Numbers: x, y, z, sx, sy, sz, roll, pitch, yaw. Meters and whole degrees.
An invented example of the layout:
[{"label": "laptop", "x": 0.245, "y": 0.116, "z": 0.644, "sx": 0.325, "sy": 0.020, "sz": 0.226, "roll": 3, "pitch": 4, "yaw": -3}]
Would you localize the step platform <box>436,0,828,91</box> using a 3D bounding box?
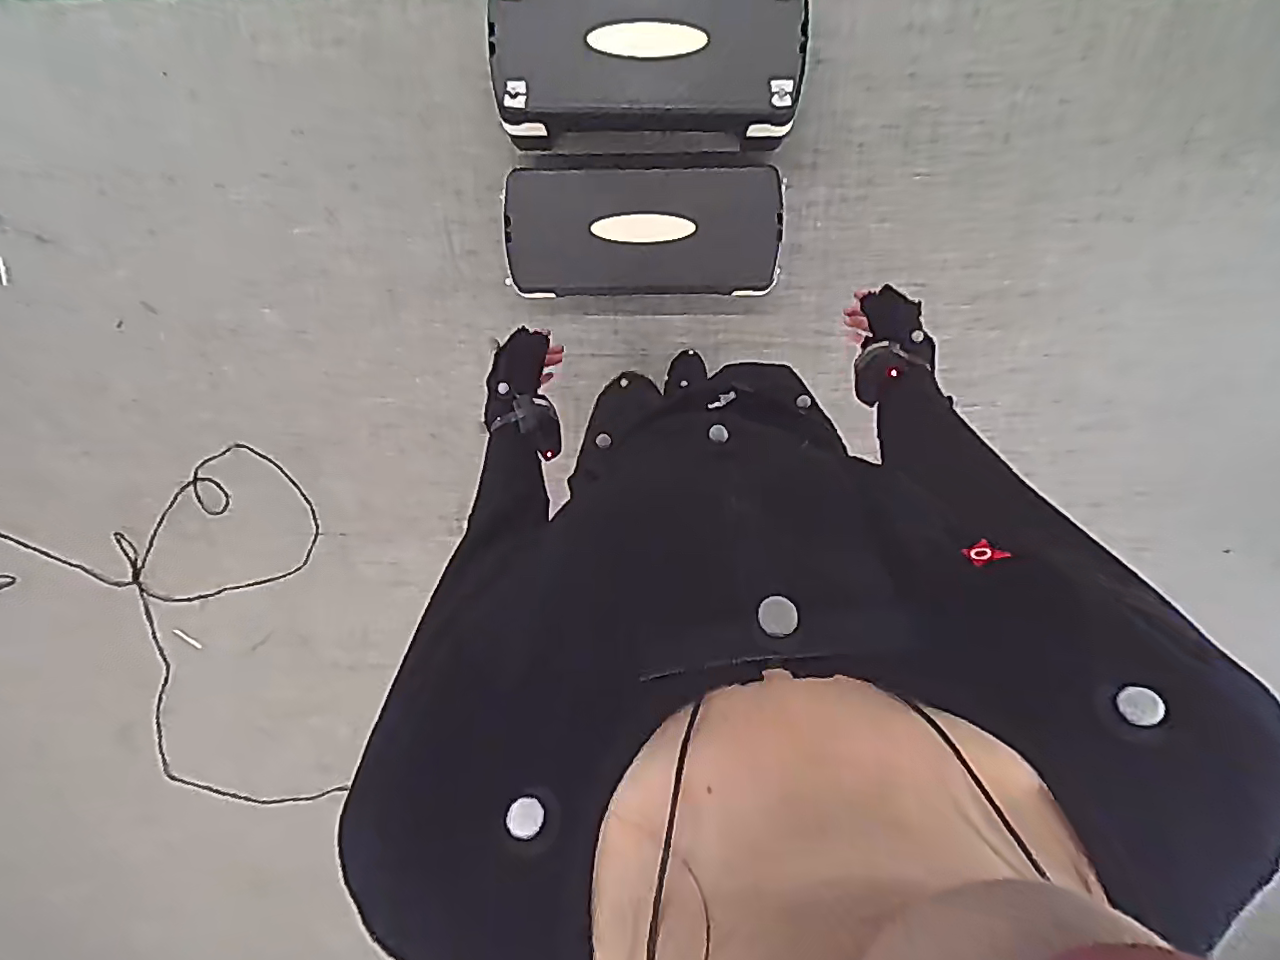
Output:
[{"label": "step platform", "x": -0.010, "y": -0.905, "z": 0.985, "sx": 0.684, "sy": 0.204, "sz": 0.286, "roll": 0, "pitch": 103, "yaw": 1}]
